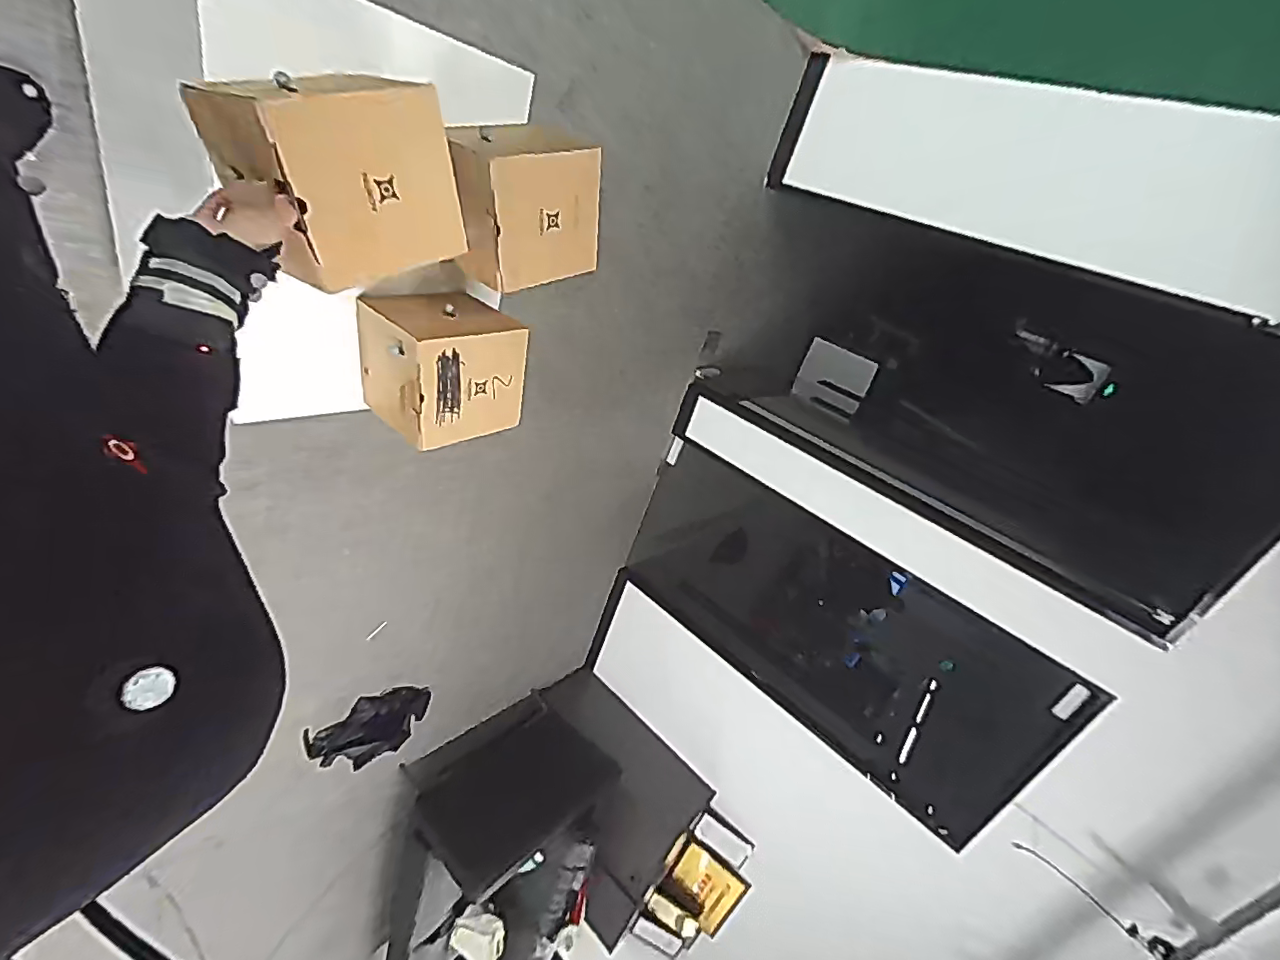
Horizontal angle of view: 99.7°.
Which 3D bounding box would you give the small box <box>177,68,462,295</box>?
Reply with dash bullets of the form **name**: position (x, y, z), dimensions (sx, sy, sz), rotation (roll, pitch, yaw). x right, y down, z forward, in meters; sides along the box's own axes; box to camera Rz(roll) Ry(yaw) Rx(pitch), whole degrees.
- **small box**: position (-0.327, -0.325, 0.576), dimensions (0.179, 0.176, 0.168), rotation (-41, 146, -35)
